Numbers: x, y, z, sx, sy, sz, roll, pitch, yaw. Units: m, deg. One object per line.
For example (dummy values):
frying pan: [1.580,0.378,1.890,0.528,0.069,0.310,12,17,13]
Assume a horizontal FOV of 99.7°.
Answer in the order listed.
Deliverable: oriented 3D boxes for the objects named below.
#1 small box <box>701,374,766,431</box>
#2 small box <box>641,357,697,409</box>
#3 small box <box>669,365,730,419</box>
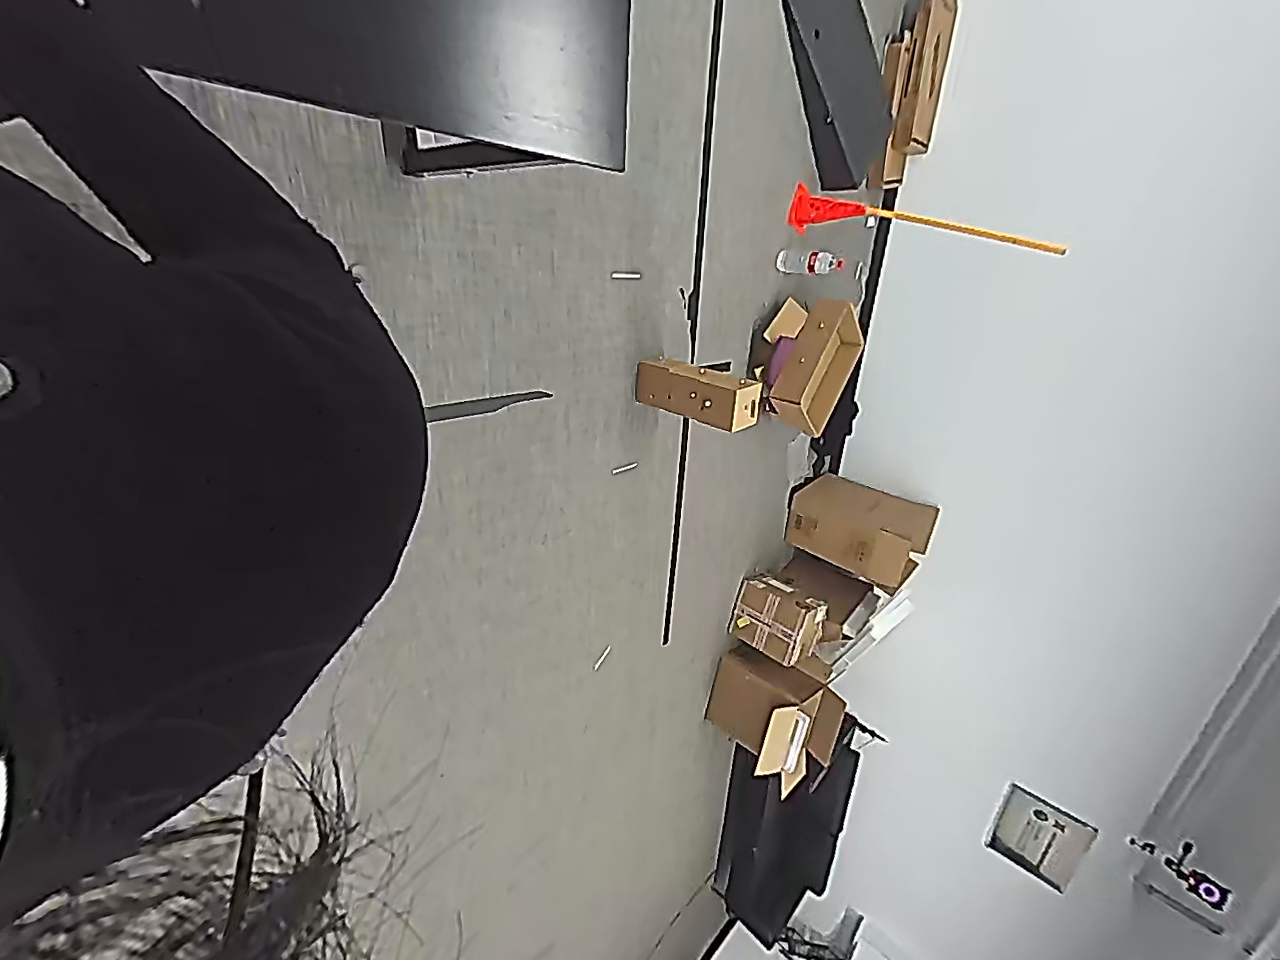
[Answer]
small box: [0.357,-0.304,2.069,0.179,0.176,0.168,-22,124,-42]
small box: [0.118,-0.409,2.269,0.168,0.176,0.179,-21,122,-44]
small box: [0.236,-0.358,2.168,0.179,0.176,0.168,-24,125,-43]
